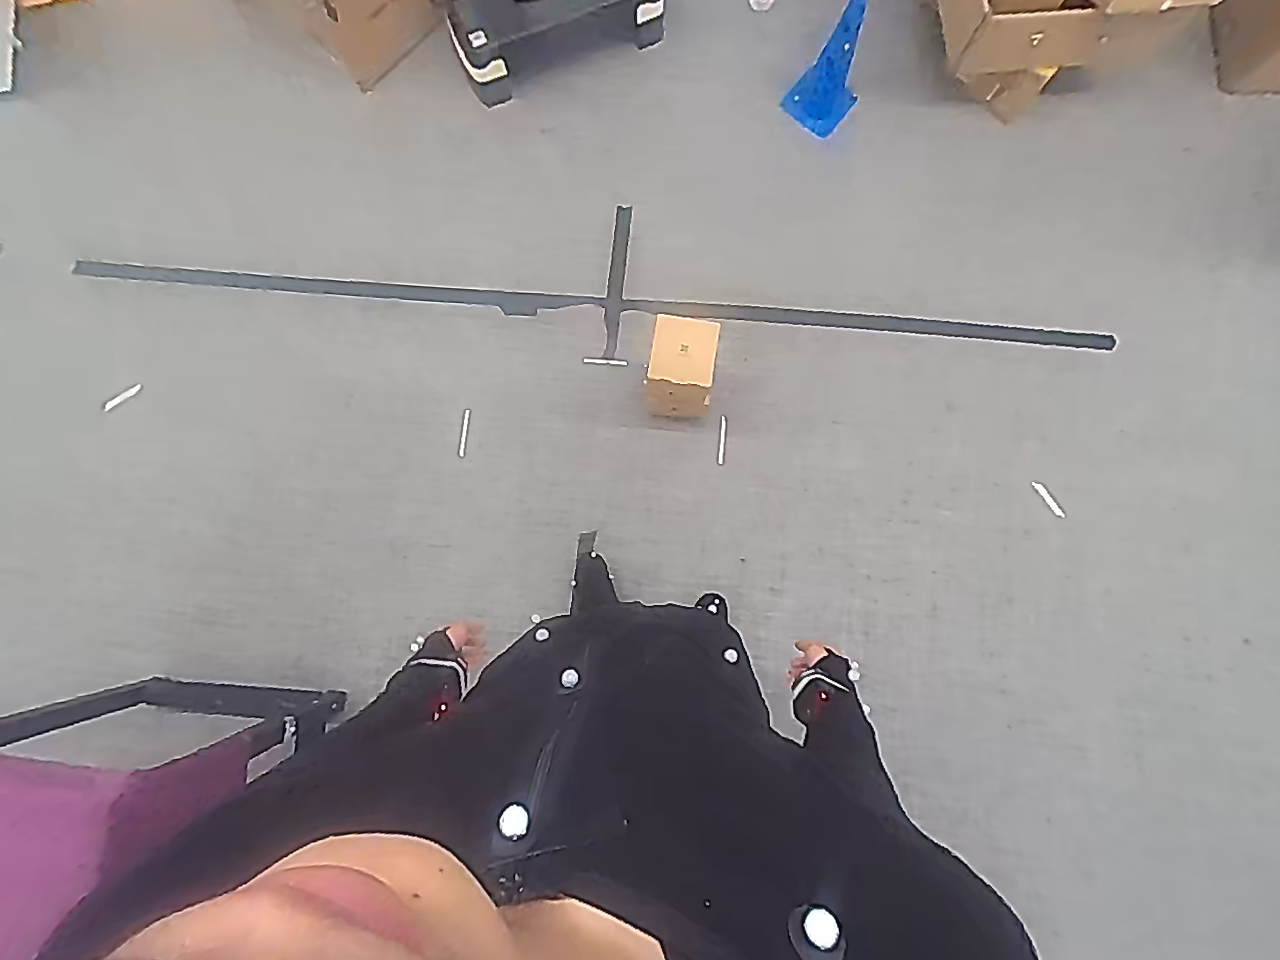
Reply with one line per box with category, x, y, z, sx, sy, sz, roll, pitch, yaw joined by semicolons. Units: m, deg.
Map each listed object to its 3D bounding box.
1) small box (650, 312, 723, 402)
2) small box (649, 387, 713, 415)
small box;0.119;-0.327;1.459;0.168;0.176;0.179;9;84;1
small box;0.122;-0.295;1.619;0.179;0.176;0.168;4;83;1
